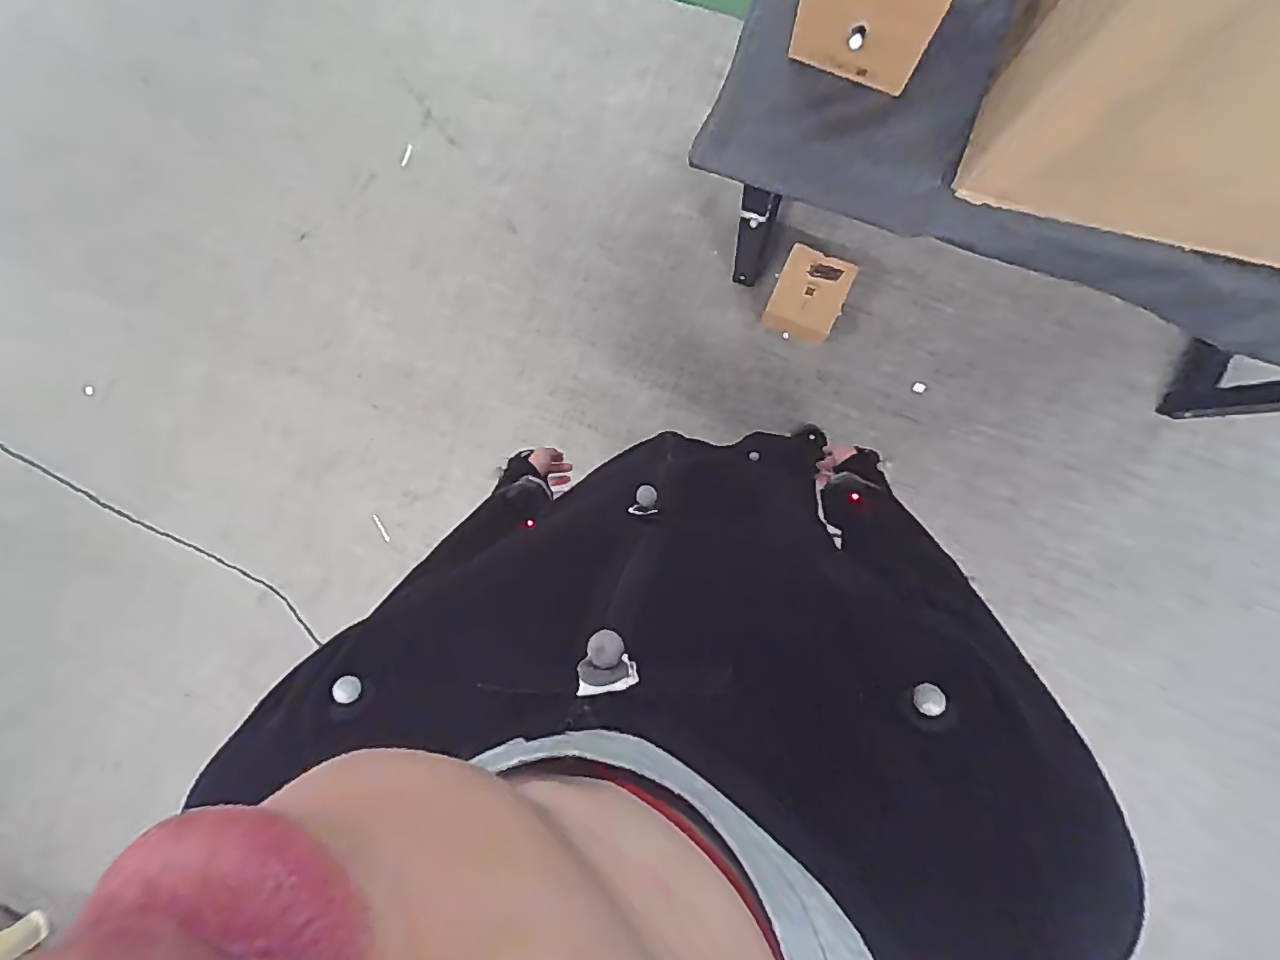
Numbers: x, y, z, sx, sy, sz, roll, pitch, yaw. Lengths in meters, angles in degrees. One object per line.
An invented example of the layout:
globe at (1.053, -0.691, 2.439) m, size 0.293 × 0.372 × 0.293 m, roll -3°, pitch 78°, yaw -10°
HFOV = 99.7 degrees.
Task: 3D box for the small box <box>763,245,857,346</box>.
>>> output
small box at (0.427, -0.466, 1.392) m, size 0.168 × 0.176 × 0.179 m, roll 25°, pitch 97°, yaw 6°
